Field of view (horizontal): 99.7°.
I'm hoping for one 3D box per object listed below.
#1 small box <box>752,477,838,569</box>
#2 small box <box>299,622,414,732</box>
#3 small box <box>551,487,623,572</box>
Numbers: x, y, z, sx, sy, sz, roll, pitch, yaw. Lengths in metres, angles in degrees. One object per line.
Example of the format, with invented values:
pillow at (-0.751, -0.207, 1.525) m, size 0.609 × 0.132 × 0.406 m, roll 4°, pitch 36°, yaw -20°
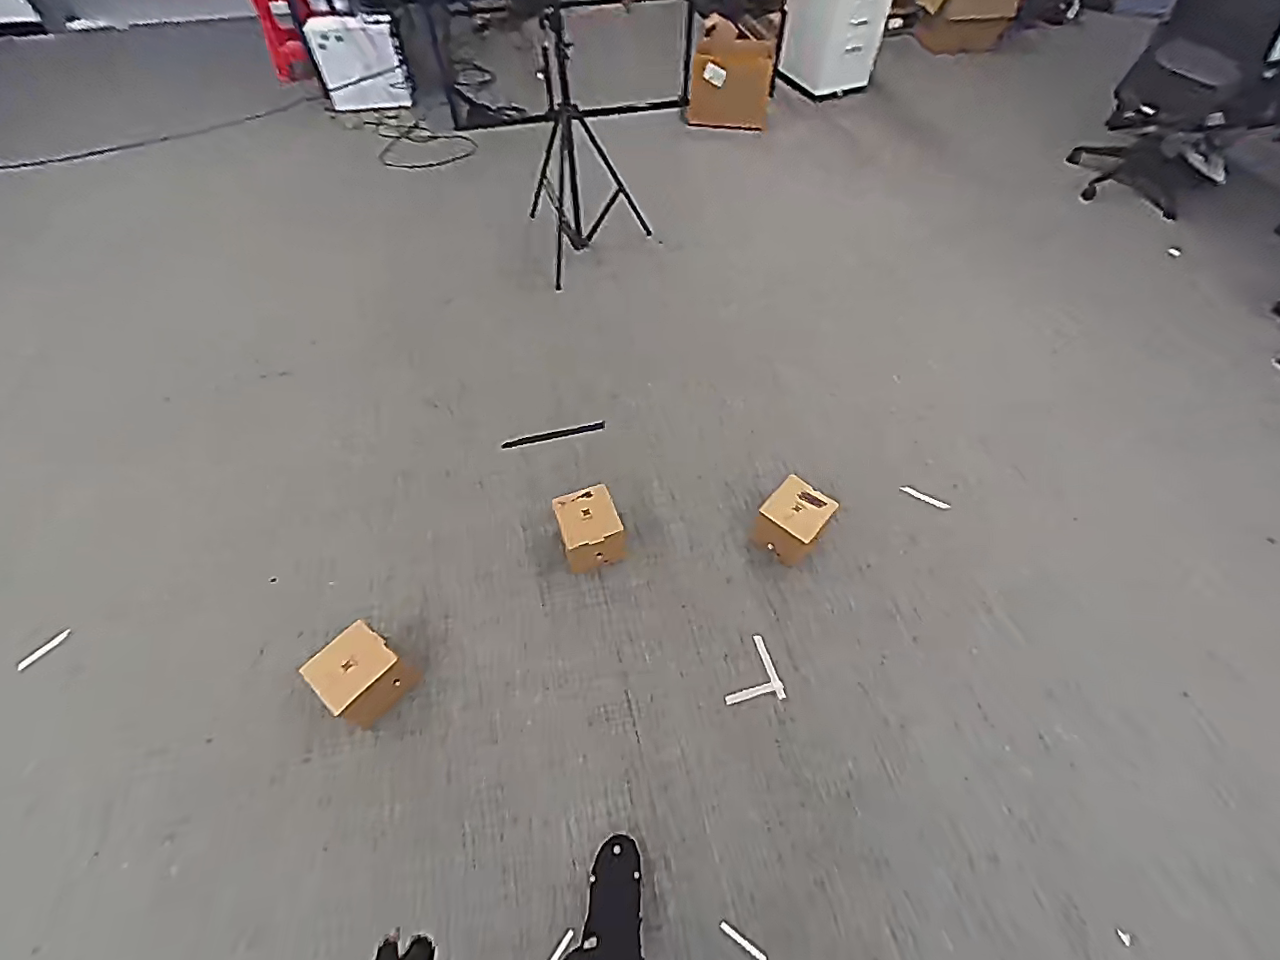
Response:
small box at (0.453, 0.131, 1.613) m, size 0.168 × 0.176 × 0.179 m, roll 36°, pitch 64°, yaw 23°
small box at (-0.697, 0.498, 1.358) m, size 0.168 × 0.176 × 0.179 m, roll 33°, pitch 62°, yaw 22°
small box at (-0.153, 0.155, 1.596) m, size 0.168 × 0.176 × 0.179 m, roll -18°, pitch 58°, yaw -12°
